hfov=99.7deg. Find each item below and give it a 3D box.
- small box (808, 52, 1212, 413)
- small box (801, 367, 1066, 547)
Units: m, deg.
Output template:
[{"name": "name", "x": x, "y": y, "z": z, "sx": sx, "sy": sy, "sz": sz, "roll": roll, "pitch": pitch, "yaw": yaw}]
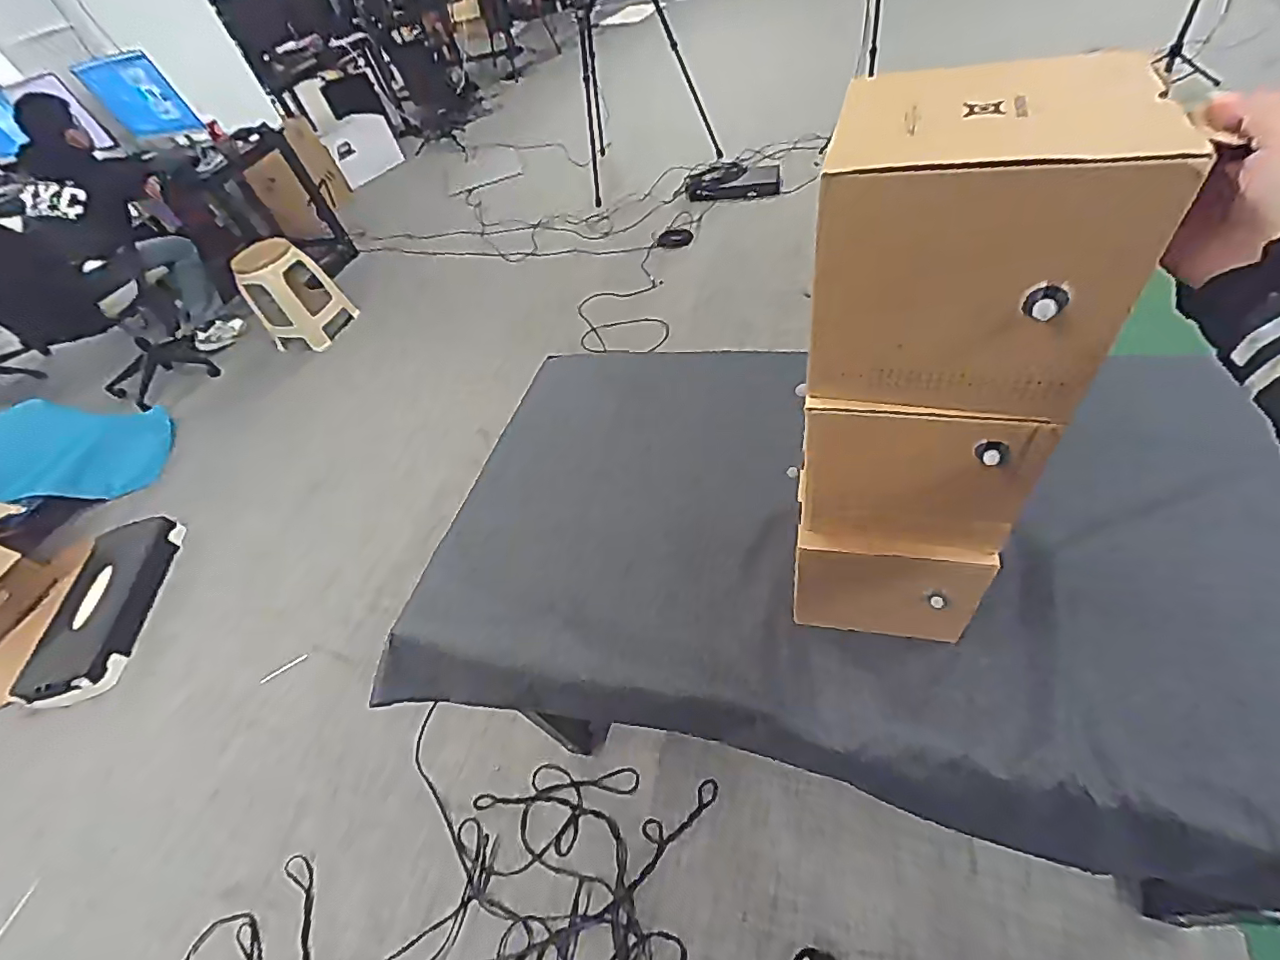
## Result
[{"name": "small box", "x": 0.222, "y": -0.164, "z": 0.380, "sx": 0.179, "sy": 0.176, "sz": 0.168, "roll": 8, "pitch": 51, "yaw": 21}, {"name": "small box", "x": 0.246, "y": -0.056, "z": 0.499, "sx": 0.179, "sy": 0.176, "sz": 0.168, "roll": 6, "pitch": 52, "yaw": 19}]
